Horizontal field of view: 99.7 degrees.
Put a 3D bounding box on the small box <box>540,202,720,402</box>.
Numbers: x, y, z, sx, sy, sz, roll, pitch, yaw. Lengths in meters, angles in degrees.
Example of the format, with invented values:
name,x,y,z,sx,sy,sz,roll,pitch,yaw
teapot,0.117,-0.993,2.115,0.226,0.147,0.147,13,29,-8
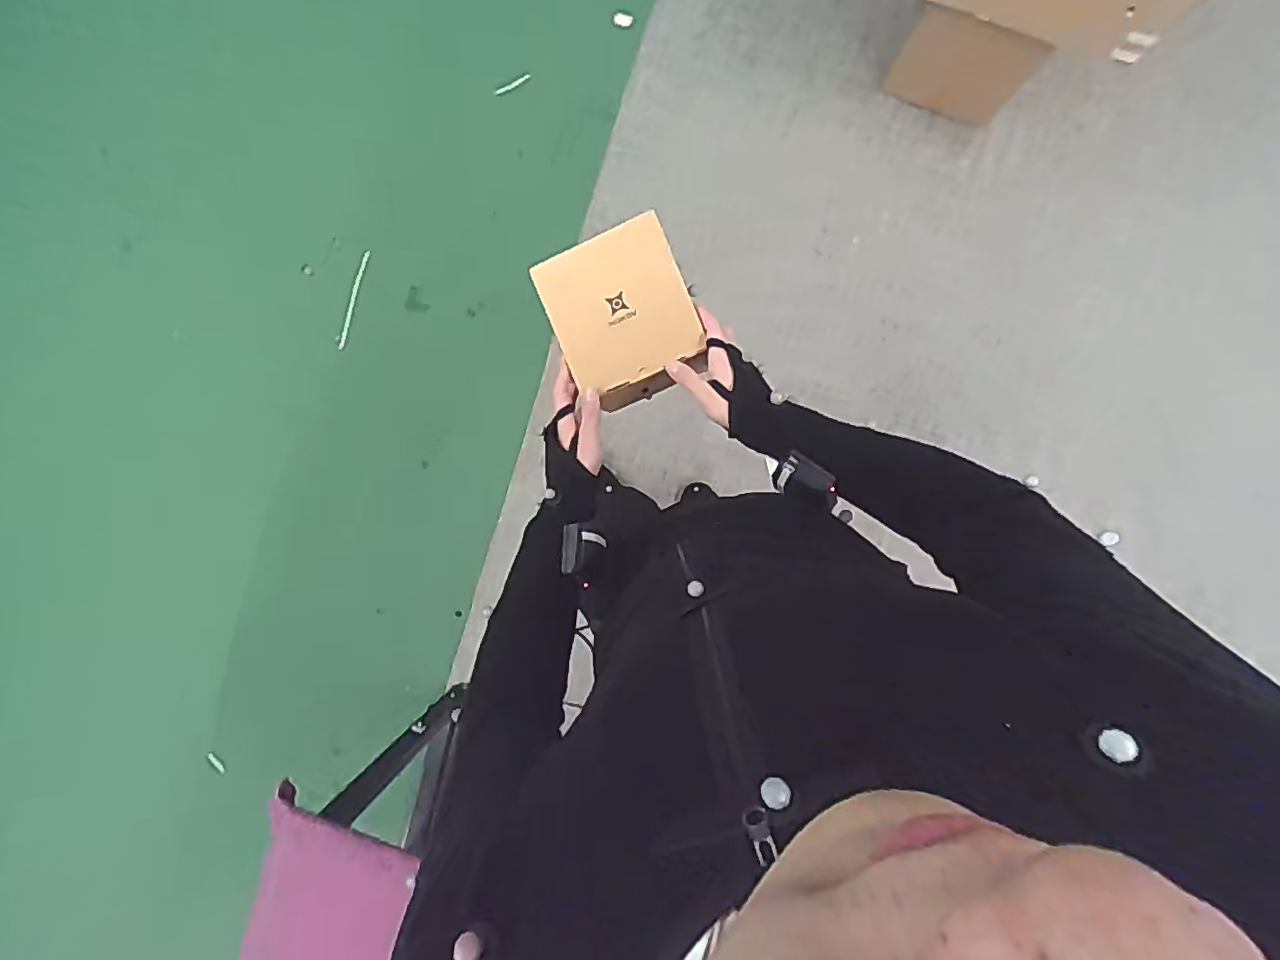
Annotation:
name,x,y,z,sx,sy,sz,roll,pitch,yaw
small box,-0.006,-0.214,0.703,0.168,0.176,0.179,-22,92,7
